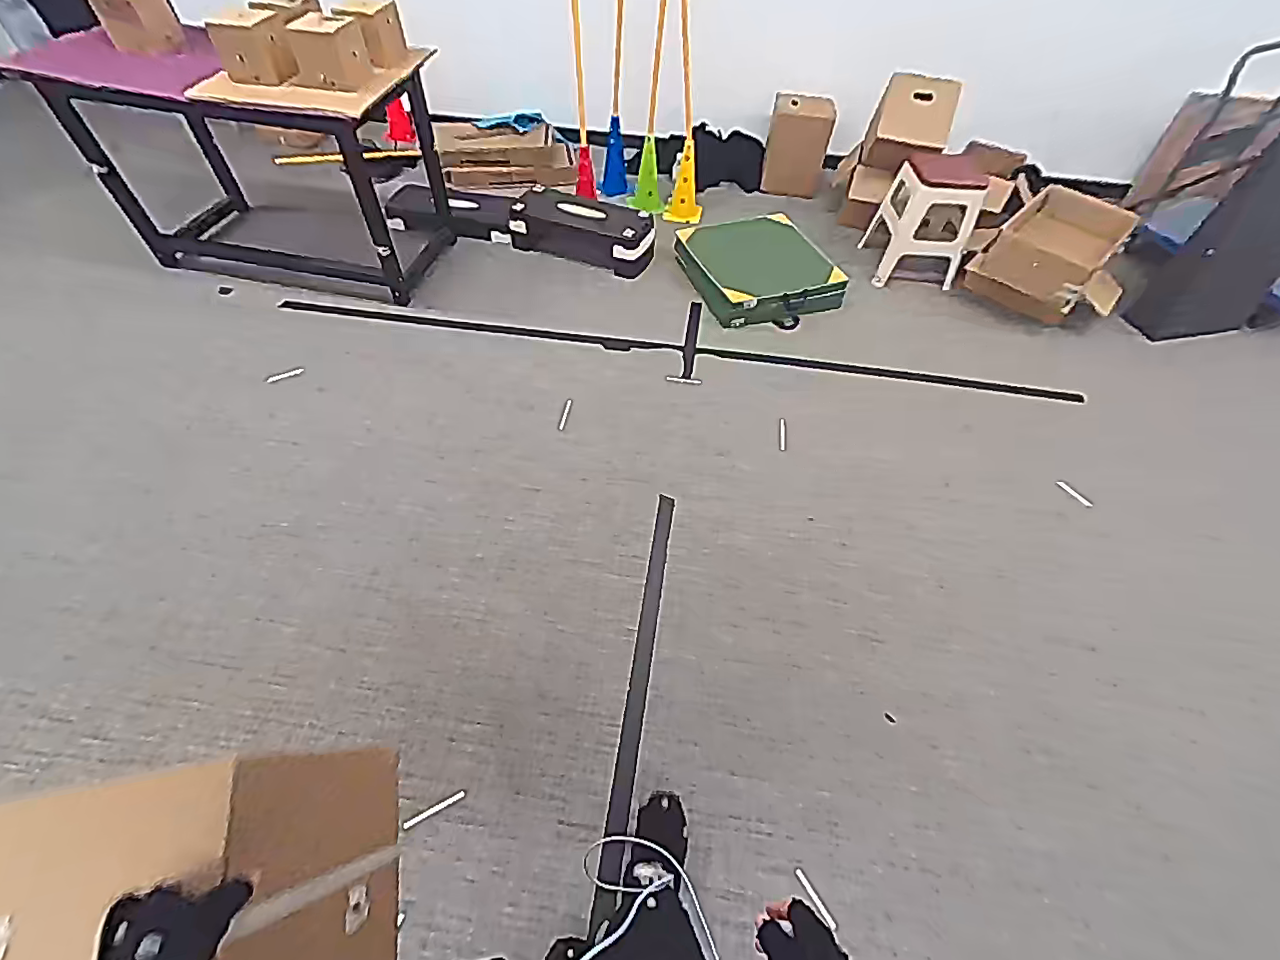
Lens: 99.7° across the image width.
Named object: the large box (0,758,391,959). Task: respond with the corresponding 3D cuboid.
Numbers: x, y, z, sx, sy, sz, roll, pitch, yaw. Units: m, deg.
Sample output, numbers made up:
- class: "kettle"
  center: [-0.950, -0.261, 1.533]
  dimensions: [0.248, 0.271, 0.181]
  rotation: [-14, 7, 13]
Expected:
- class: "large box"
  center: [-0.570, 0.575, 0.703]
  dimensions: [0.320, 0.408, 0.320]
  rotation: [-10, 65, -3]
